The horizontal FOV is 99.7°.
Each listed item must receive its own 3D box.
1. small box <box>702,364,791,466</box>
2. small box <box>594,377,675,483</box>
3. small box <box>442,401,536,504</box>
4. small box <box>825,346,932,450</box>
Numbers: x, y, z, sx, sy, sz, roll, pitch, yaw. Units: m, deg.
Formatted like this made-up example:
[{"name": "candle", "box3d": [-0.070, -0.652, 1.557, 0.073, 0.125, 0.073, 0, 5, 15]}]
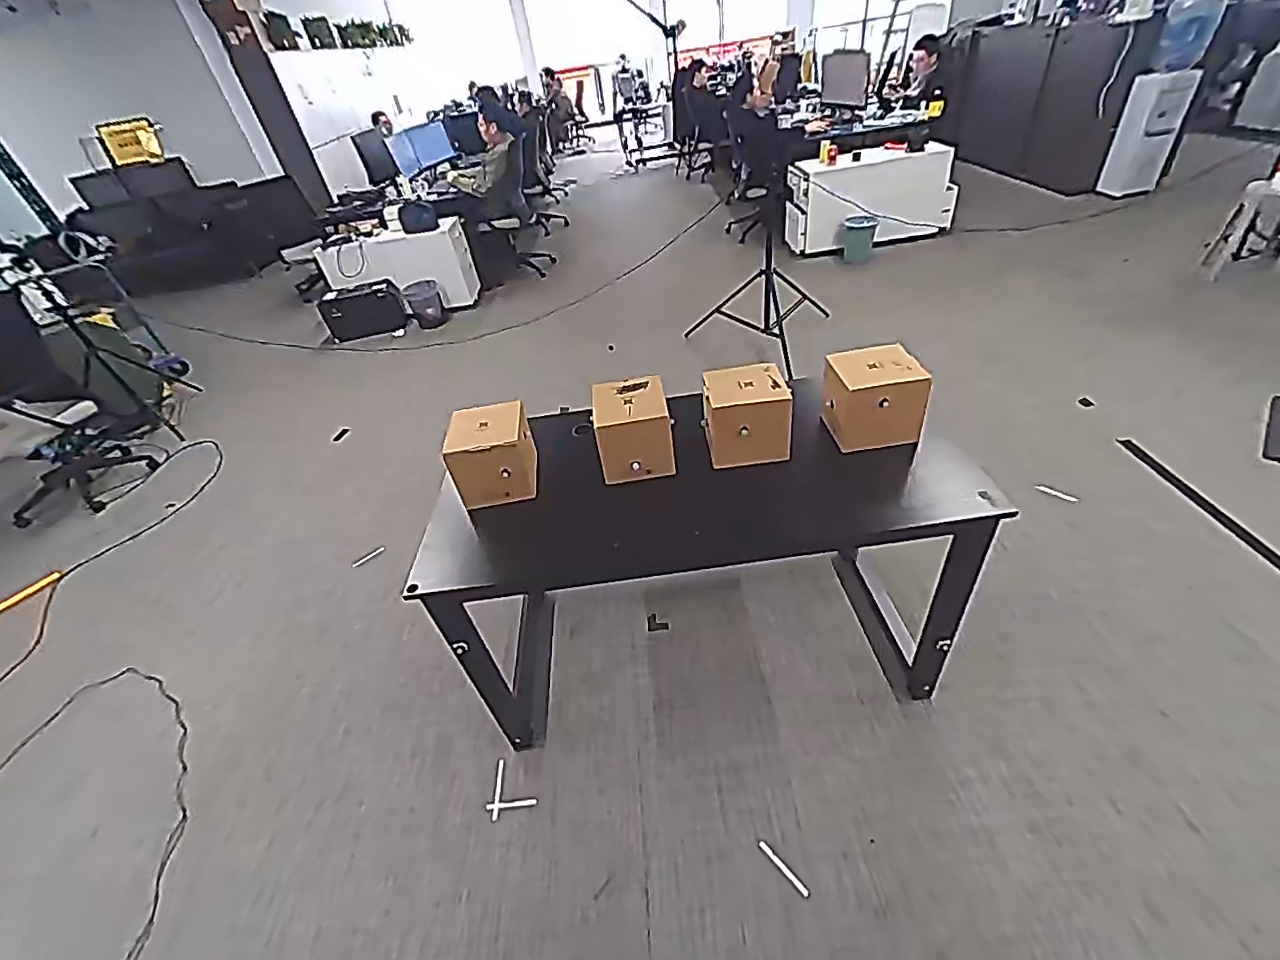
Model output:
[{"name": "small box", "box3d": [0.244, -0.146, 1.248, 0.179, 0.176, 0.168, -8, 39, 4]}, {"name": "small box", "box3d": [-0.014, -0.116, 1.263, 0.168, 0.176, 0.179, -9, 40, 1]}, {"name": "small box", "box3d": [-0.342, -0.059, 1.262, 0.168, 0.176, 0.179, -9, 38, -2]}, {"name": "small box", "box3d": [0.529, -0.183, 1.231, 0.179, 0.176, 0.168, -8, 39, 3]}]
